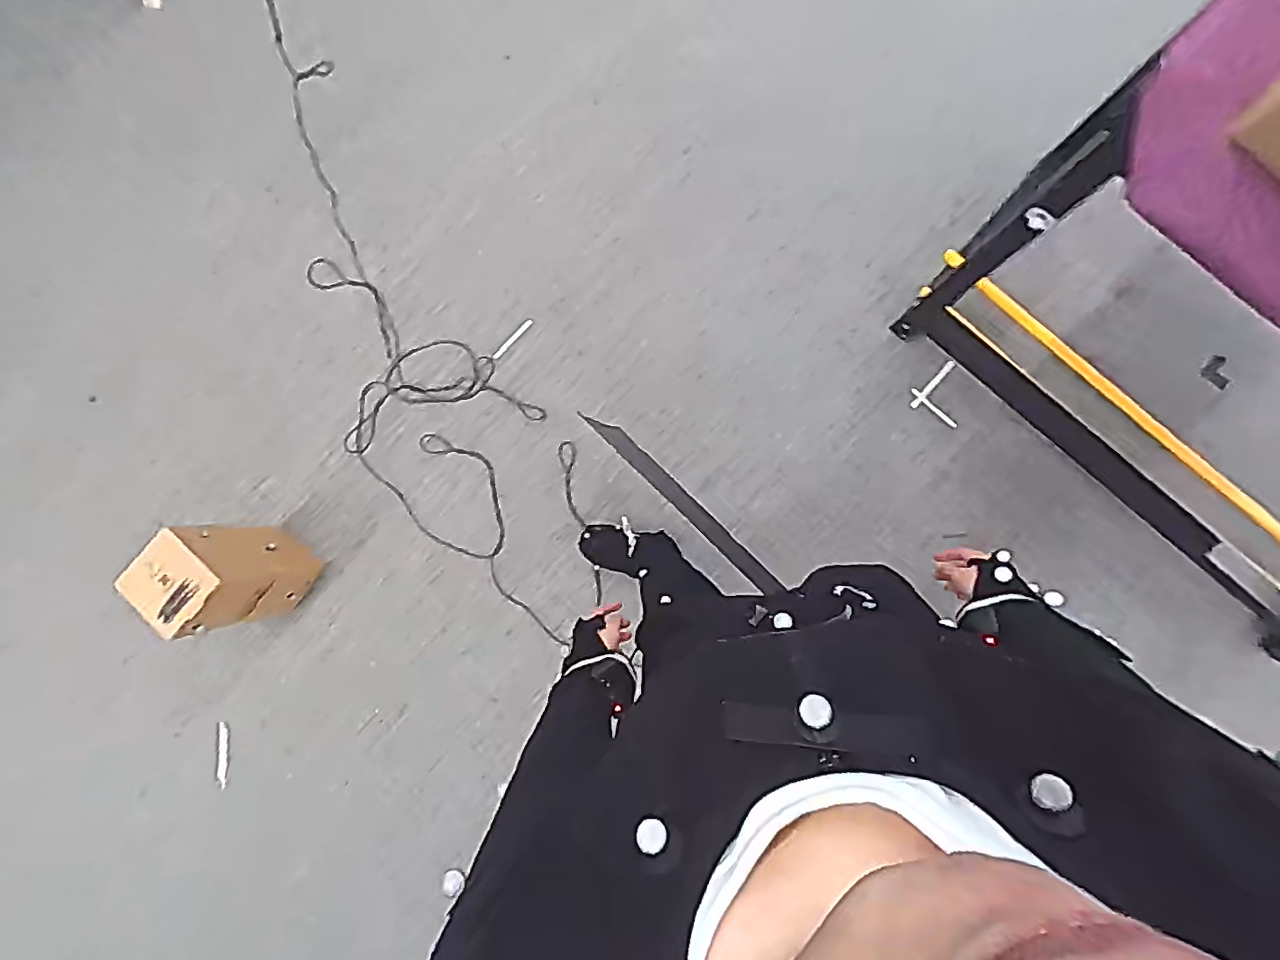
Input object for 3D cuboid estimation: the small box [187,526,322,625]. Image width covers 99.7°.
[{"bbox_3d":[-0.949,0.231,1.347,0.179,0.176,0.168,37,90,4],"label":"small box"}]
